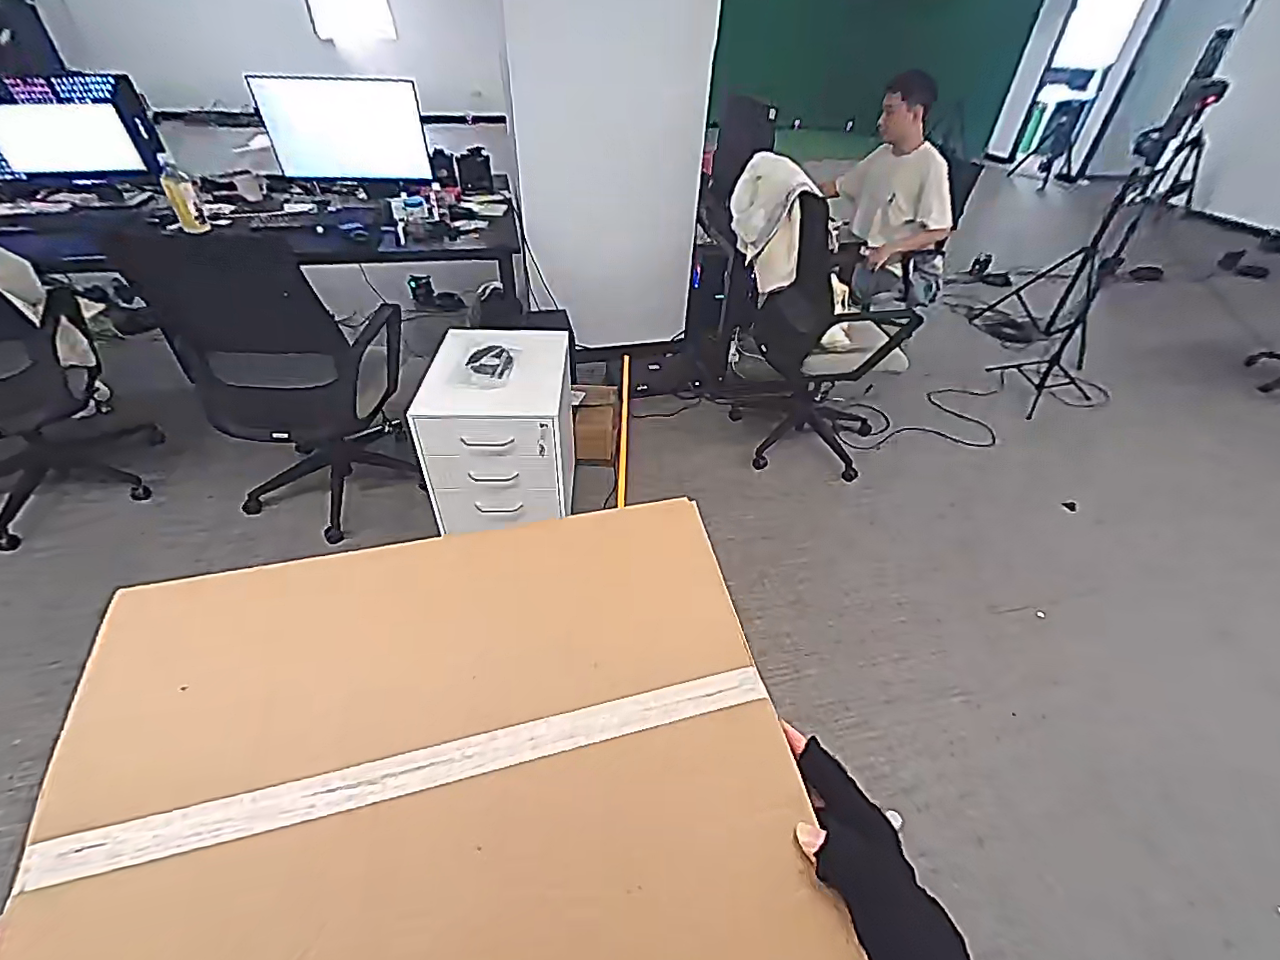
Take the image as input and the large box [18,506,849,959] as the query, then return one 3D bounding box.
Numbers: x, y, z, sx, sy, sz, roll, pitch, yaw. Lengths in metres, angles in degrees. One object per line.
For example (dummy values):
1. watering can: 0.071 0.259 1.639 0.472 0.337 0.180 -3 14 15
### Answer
1. large box: -0.126 0.260 0.443 0.408 0.320 0.320 -9 54 -12
